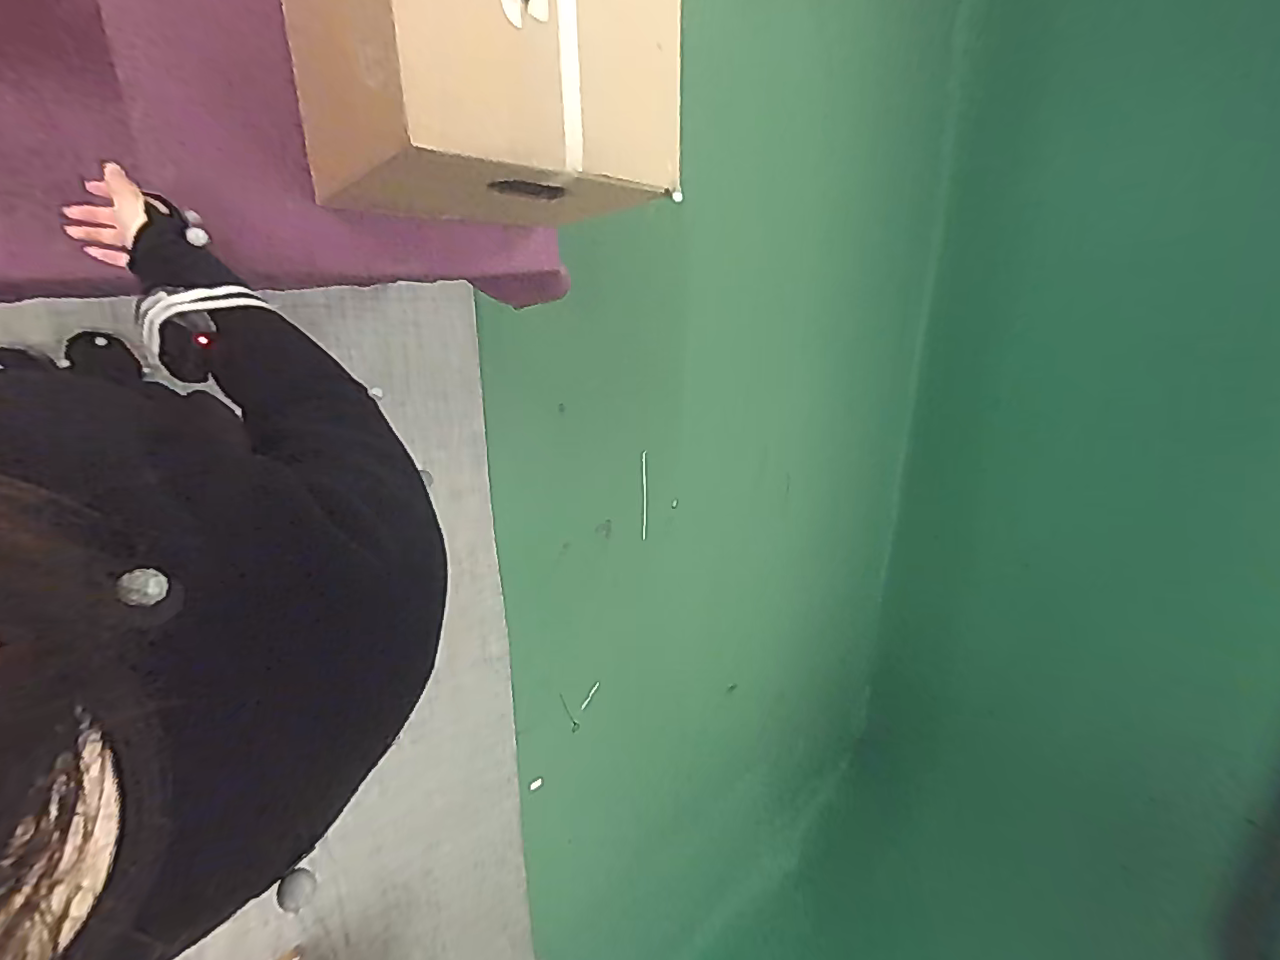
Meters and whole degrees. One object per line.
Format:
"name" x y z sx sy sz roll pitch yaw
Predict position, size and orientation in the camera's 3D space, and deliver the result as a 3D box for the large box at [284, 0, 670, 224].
"large box" -0.181 -0.527 0.591 0.320 0.320 0.408 -16 113 -40
